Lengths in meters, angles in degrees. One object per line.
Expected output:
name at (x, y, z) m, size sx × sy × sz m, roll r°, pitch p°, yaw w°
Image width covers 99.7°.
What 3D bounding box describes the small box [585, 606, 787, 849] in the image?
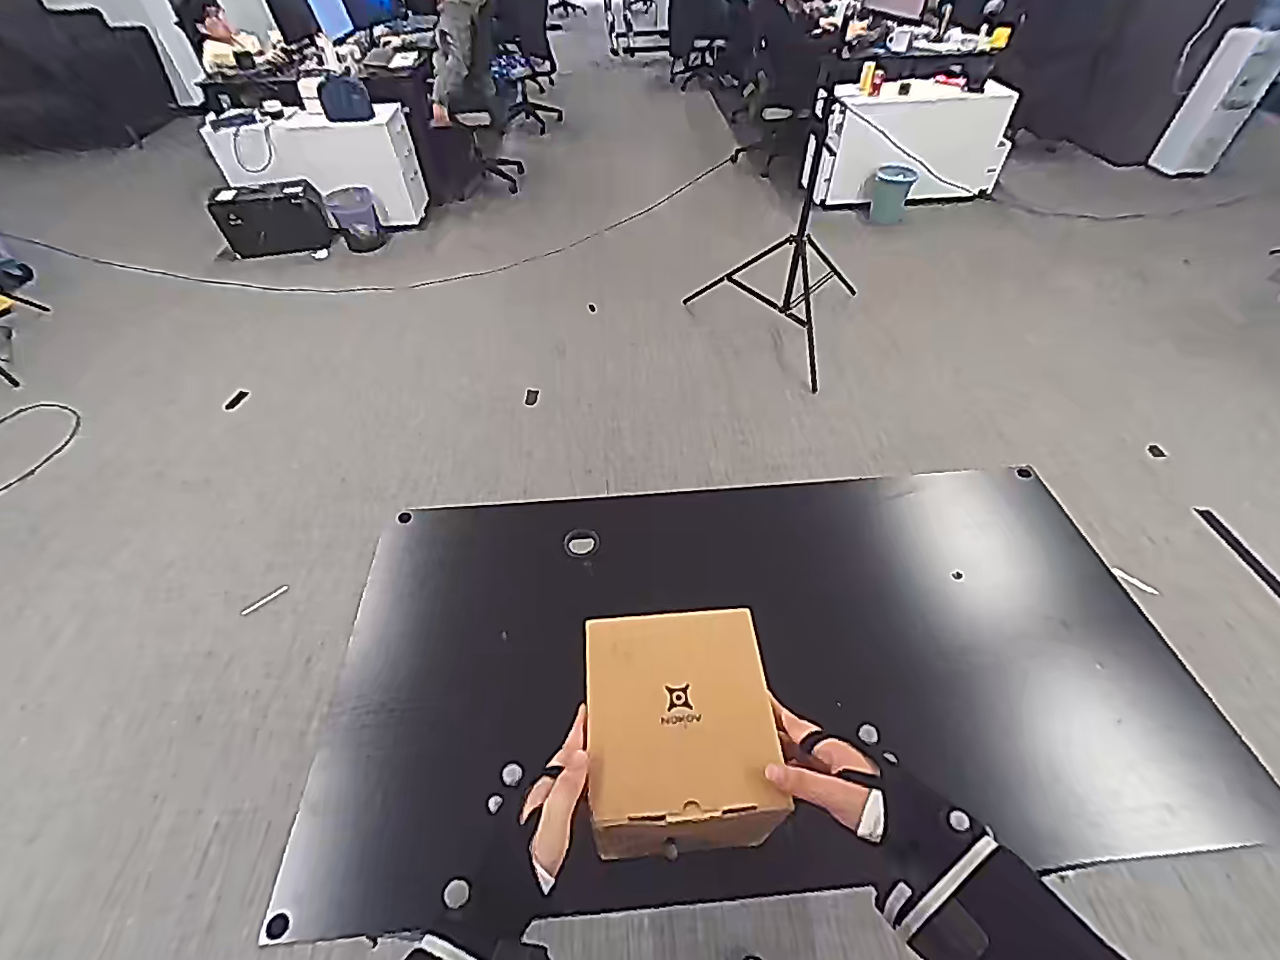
small box at (0.031, 0.248, 0.544) m, size 0.168 × 0.176 × 0.179 m, roll -4°, pitch 49°, yaw -3°
